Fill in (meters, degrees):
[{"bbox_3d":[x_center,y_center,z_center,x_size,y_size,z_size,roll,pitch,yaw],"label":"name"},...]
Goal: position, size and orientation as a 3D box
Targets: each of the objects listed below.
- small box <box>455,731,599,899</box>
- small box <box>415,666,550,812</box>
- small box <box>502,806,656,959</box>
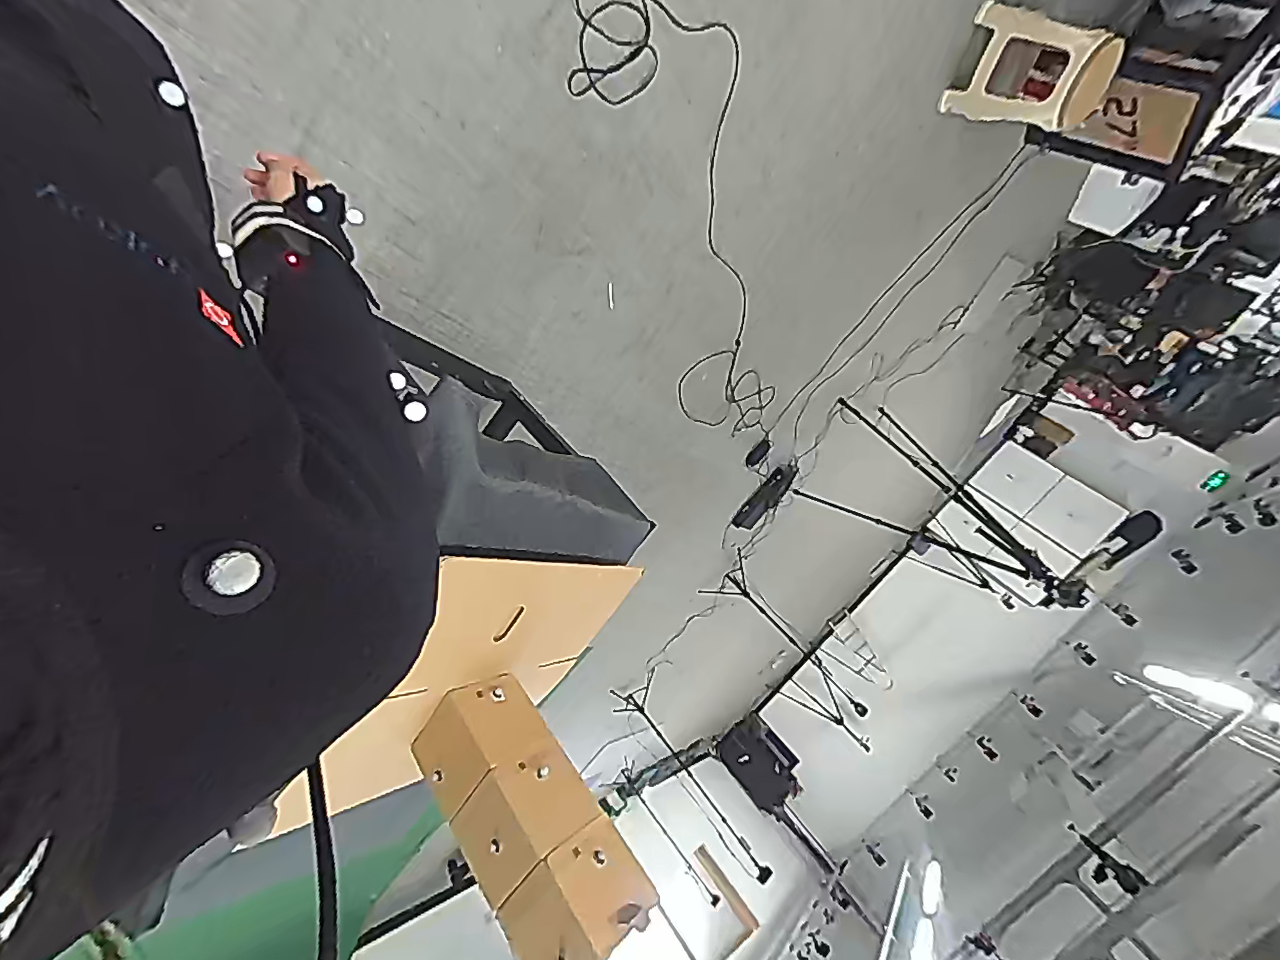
[{"bbox_3d":[-0.216,0.610,1.005,0.168,0.176,0.179,3,126,-56],"label":"small box"},{"bbox_3d":[-0.320,0.505,1.078,0.168,0.176,0.179,4,125,-57],"label":"small box"},{"bbox_3d":[-0.113,0.715,0.937,0.168,0.176,0.179,2,127,-56],"label":"small box"}]
